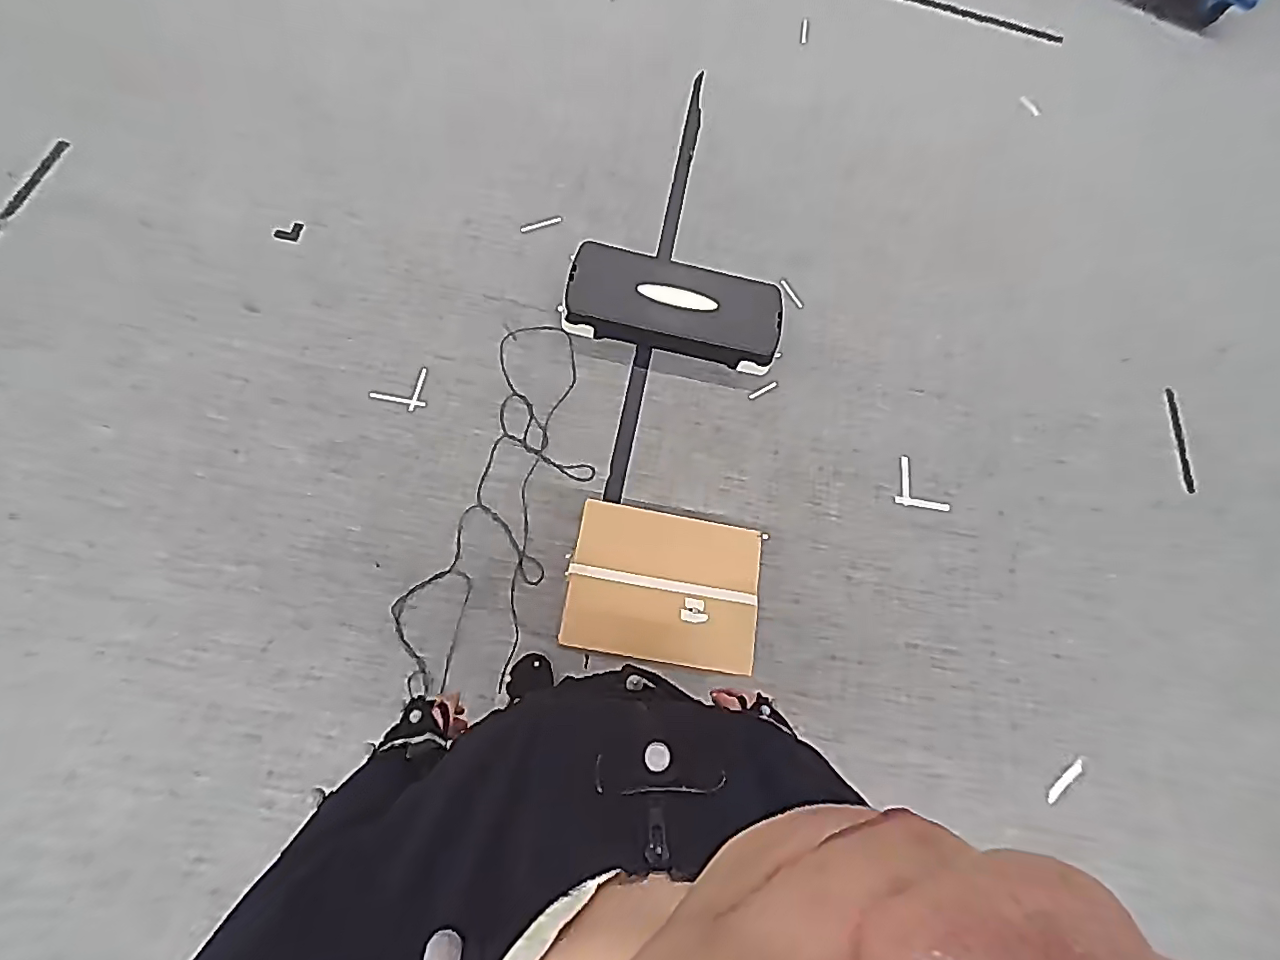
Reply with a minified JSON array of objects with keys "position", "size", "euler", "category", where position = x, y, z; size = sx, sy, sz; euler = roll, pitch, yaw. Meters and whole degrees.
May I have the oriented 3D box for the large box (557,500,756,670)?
[{"position":[0.025,0.266,1.292],"size":[0.408,0.320,0.320],"euler":[11,70,-5],"category":"large box"}]
